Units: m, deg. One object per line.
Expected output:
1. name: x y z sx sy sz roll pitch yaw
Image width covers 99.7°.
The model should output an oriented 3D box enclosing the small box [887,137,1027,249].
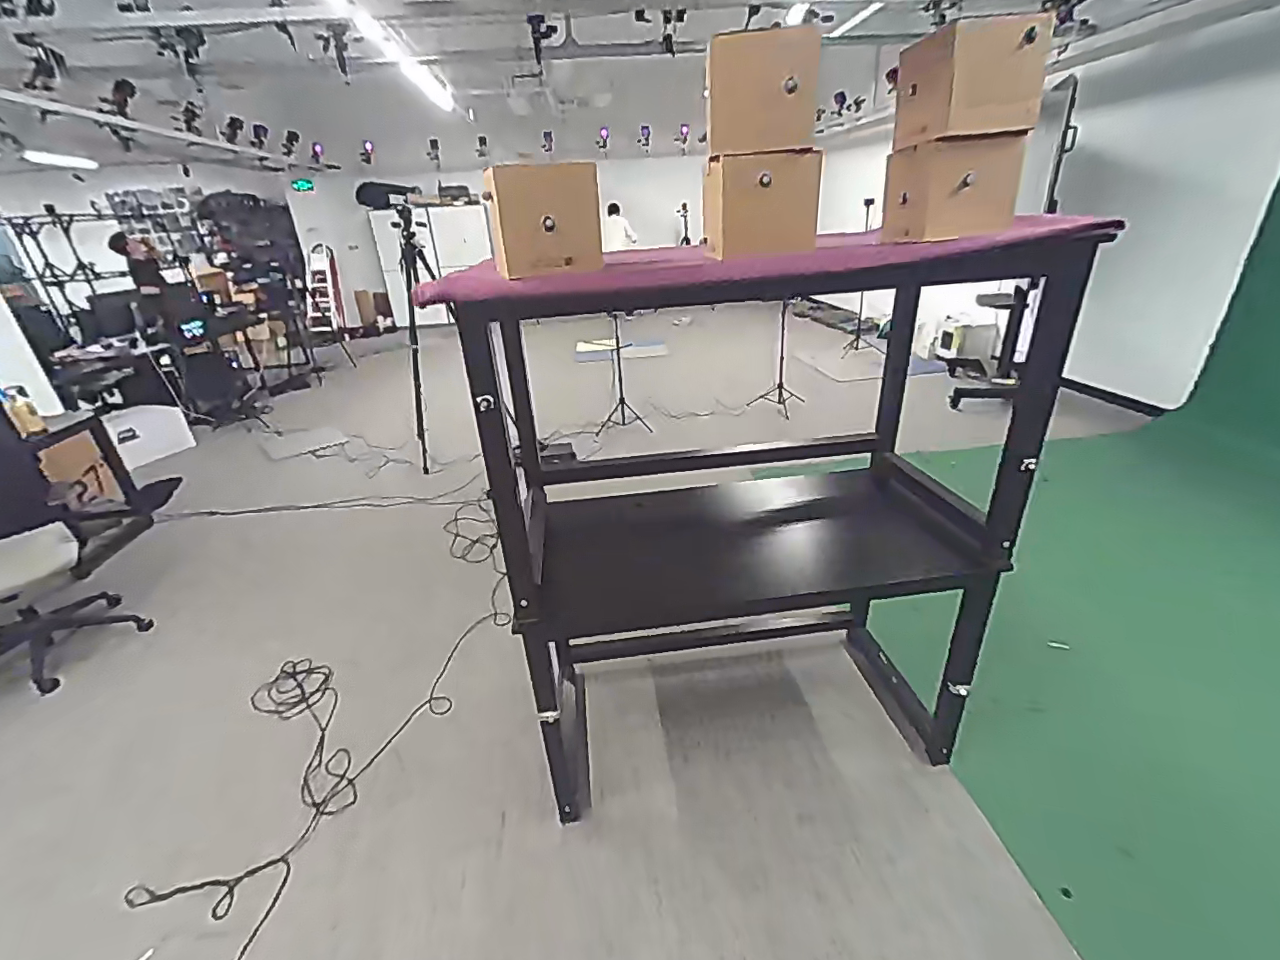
1. small box: 0.599 -0.545 1.048 0.179 0.176 0.168 -7 24 -3

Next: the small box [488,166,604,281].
1. small box: -0.164 -0.444 0.945 0.168 0.176 0.179 -10 27 -16

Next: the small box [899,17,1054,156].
1. small box: 0.587 -0.689 0.971 0.179 0.176 0.168 -7 23 -3

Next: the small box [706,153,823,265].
1. small box: 0.224 -0.500 1.012 0.179 0.176 0.168 -5 26 -4

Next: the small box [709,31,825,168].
1. small box: 0.210 -0.645 0.941 0.179 0.176 0.168 -2 25 6
